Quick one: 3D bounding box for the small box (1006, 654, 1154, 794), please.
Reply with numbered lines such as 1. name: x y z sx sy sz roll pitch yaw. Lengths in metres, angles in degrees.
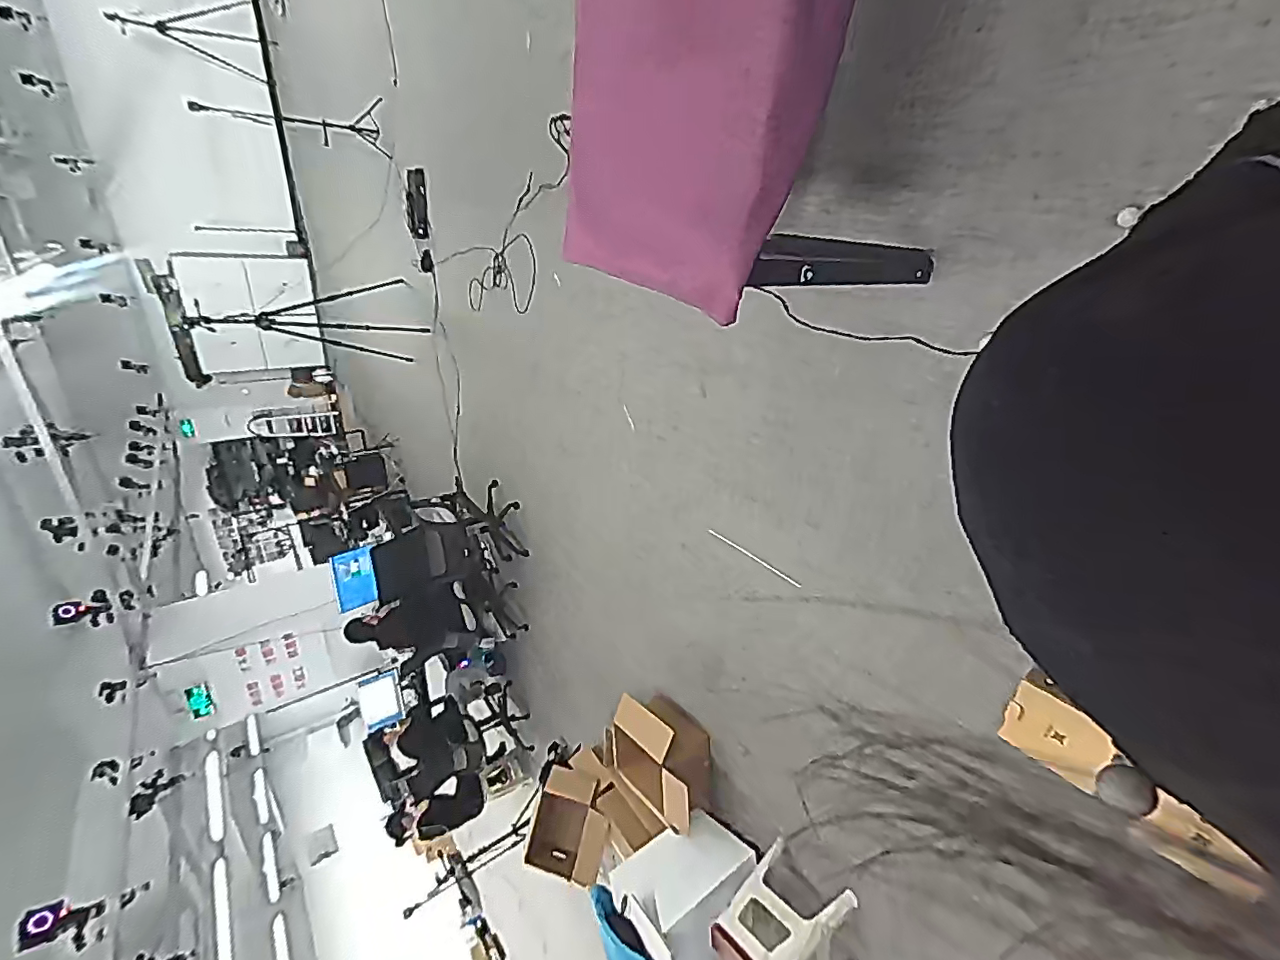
1. small box: 0.916 0.495 1.127 0.179 0.176 0.168 30 126 47
